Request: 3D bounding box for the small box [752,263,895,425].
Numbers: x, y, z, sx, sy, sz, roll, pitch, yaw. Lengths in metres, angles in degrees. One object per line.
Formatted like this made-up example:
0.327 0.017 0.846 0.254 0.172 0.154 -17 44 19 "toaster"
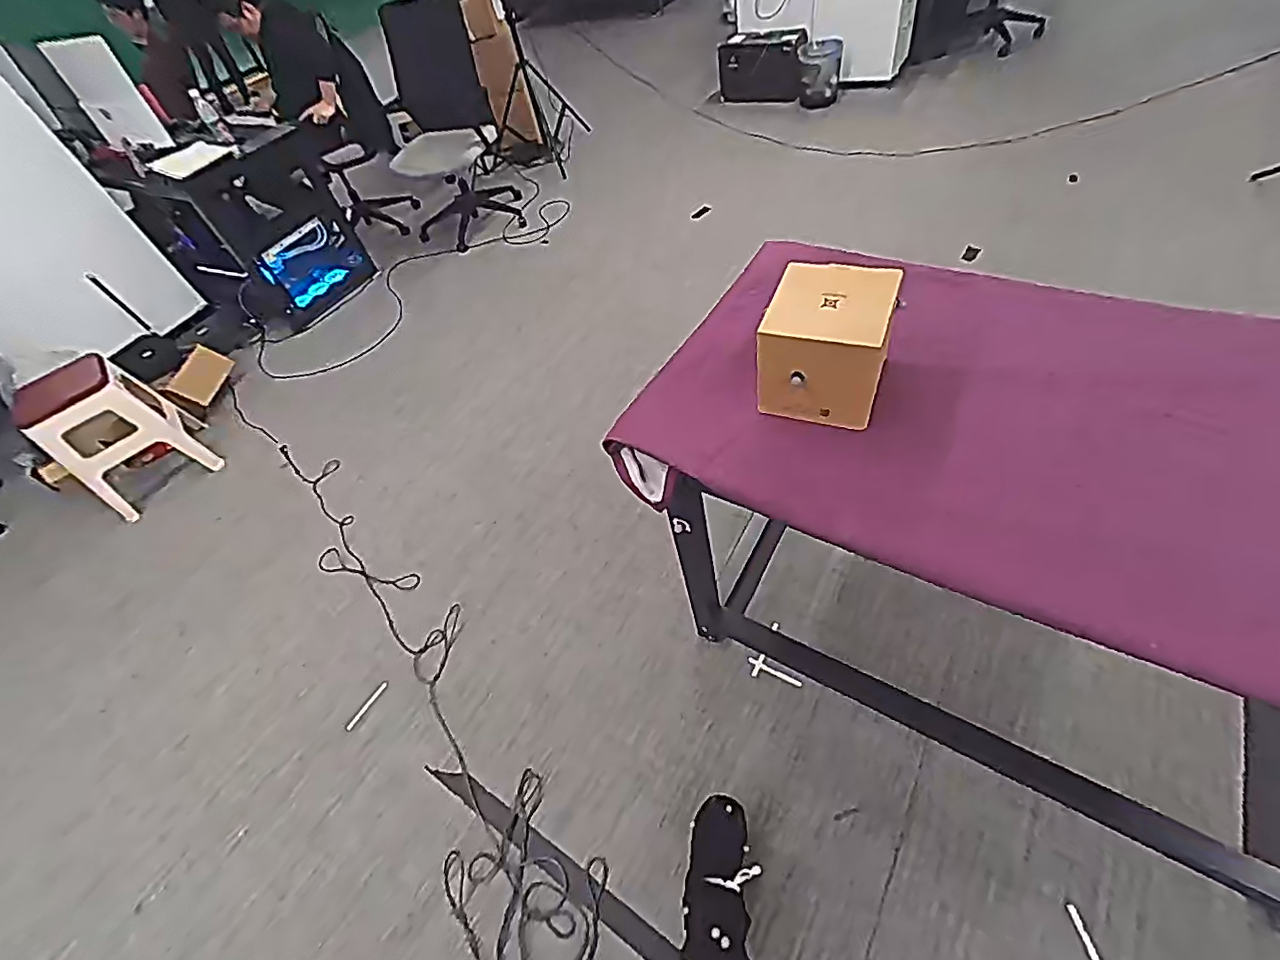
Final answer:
0.280 -0.208 0.832 0.168 0.176 0.179 13 57 22 "small box"
